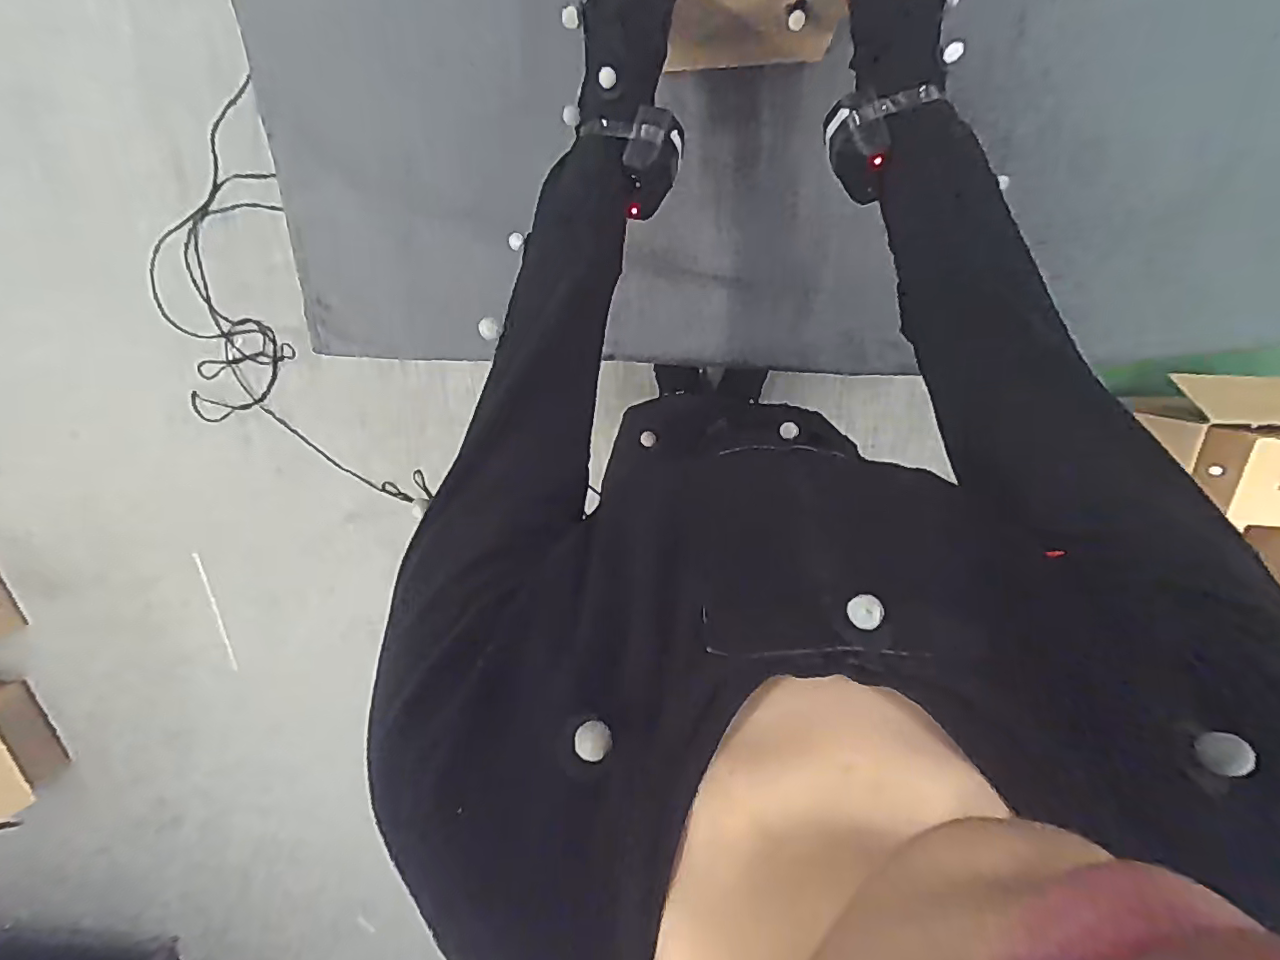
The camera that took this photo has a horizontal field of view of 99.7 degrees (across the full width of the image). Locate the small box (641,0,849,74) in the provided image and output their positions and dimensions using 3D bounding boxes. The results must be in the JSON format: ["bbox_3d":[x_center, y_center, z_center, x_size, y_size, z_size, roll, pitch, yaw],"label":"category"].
[{"bbox_3d":[0.092,-0.492,0.481,0.179,0.176,0.168,0,108,6],"label":"small box"}]
